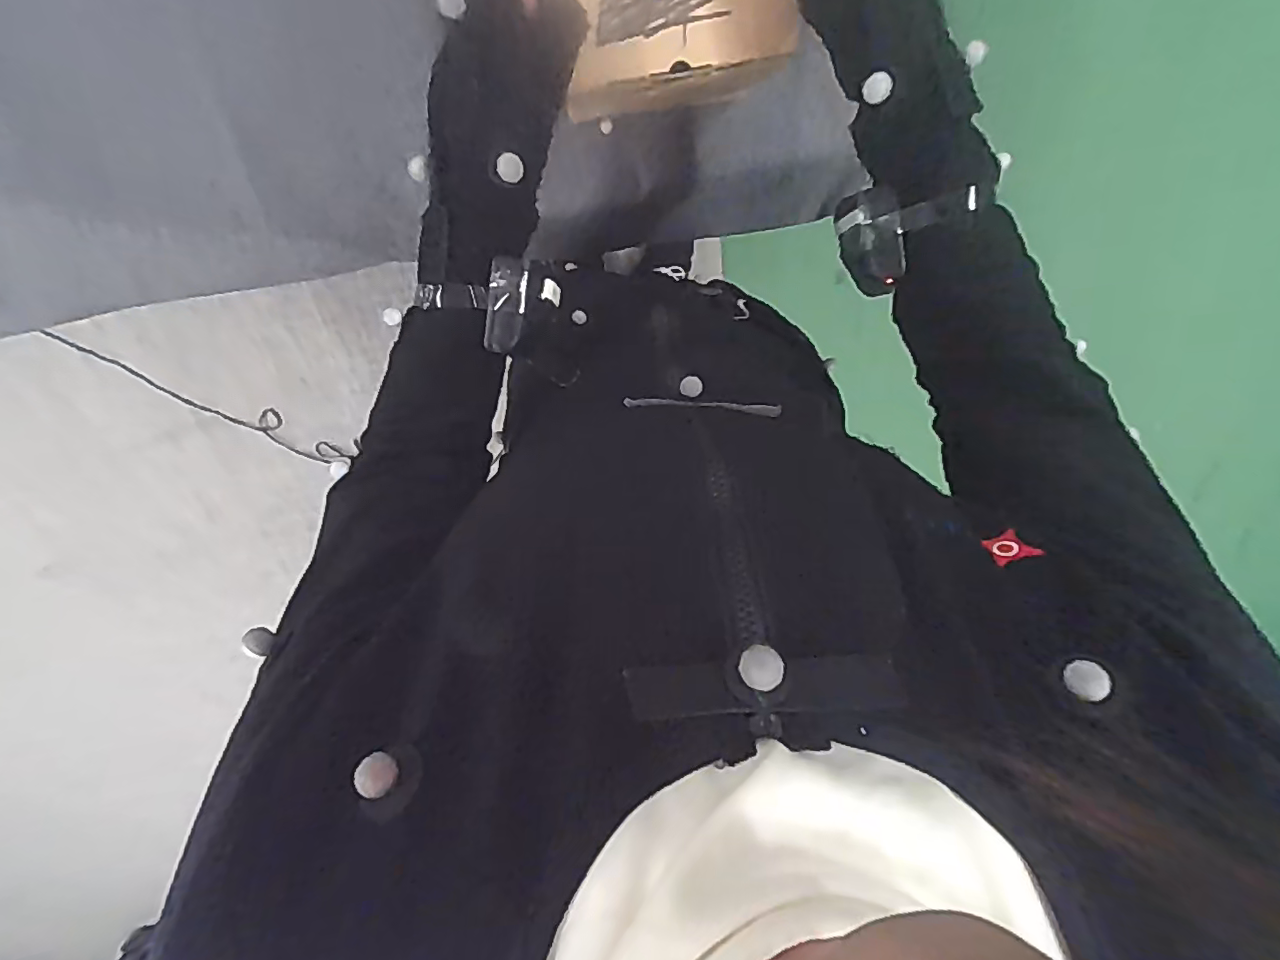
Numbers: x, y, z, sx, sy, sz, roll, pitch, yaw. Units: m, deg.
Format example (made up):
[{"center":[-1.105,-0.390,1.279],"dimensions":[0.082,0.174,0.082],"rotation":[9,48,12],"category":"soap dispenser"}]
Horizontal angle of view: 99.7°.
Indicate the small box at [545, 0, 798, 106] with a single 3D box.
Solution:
[{"center":[0.009,-0.394,0.395],"dimensions":[0.168,0.176,0.179],"rotation":[-10,117,0],"category":"small box"}]
